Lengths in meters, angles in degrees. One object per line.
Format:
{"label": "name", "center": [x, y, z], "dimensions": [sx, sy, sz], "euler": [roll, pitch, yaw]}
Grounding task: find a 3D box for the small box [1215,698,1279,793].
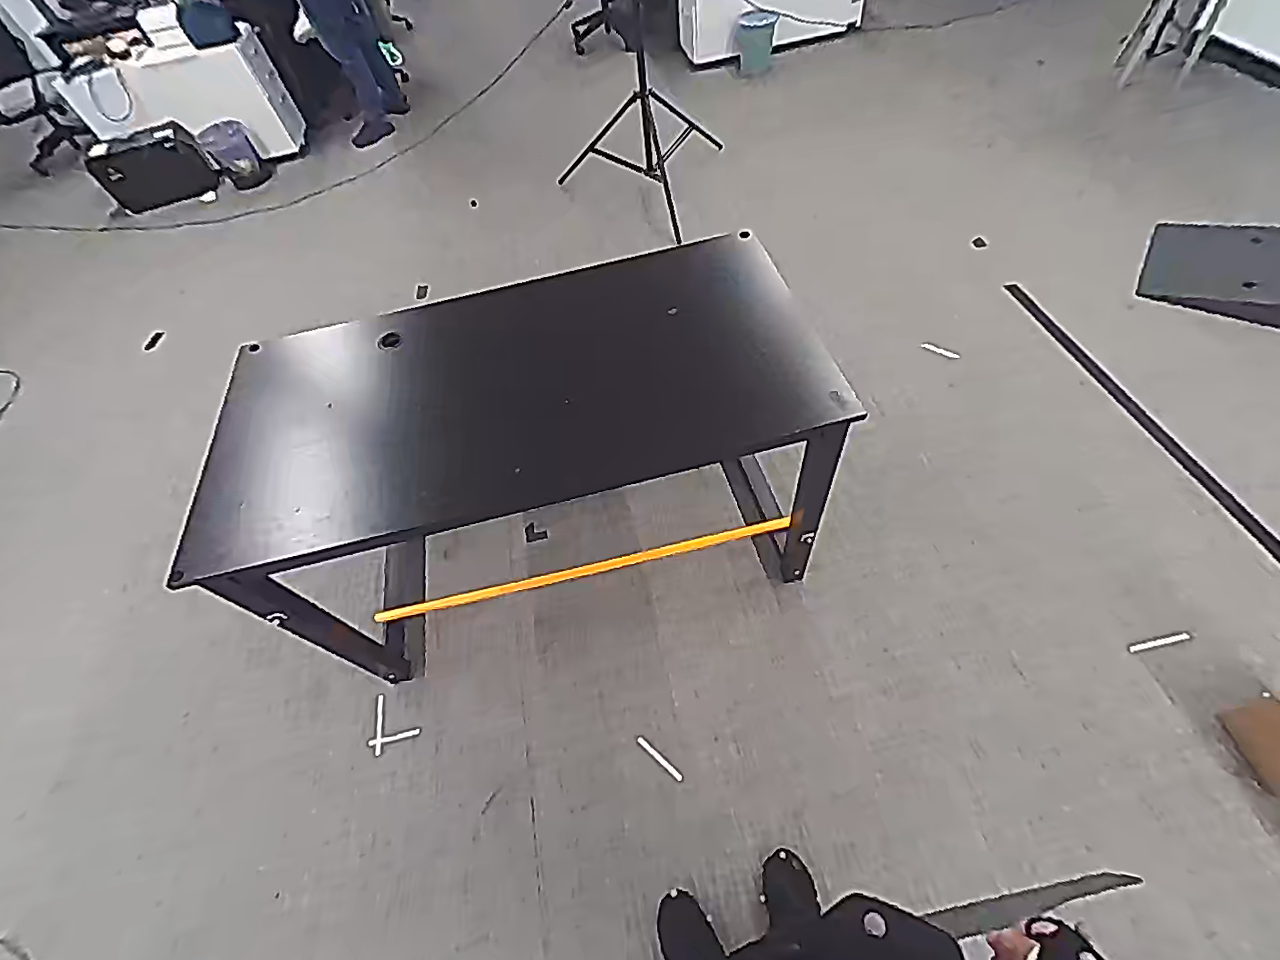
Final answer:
{"label": "small box", "center": [1.402, 0.552, 1.131], "dimensions": [0.168, 0.176, 0.179], "euler": [-12, 55, 0]}
